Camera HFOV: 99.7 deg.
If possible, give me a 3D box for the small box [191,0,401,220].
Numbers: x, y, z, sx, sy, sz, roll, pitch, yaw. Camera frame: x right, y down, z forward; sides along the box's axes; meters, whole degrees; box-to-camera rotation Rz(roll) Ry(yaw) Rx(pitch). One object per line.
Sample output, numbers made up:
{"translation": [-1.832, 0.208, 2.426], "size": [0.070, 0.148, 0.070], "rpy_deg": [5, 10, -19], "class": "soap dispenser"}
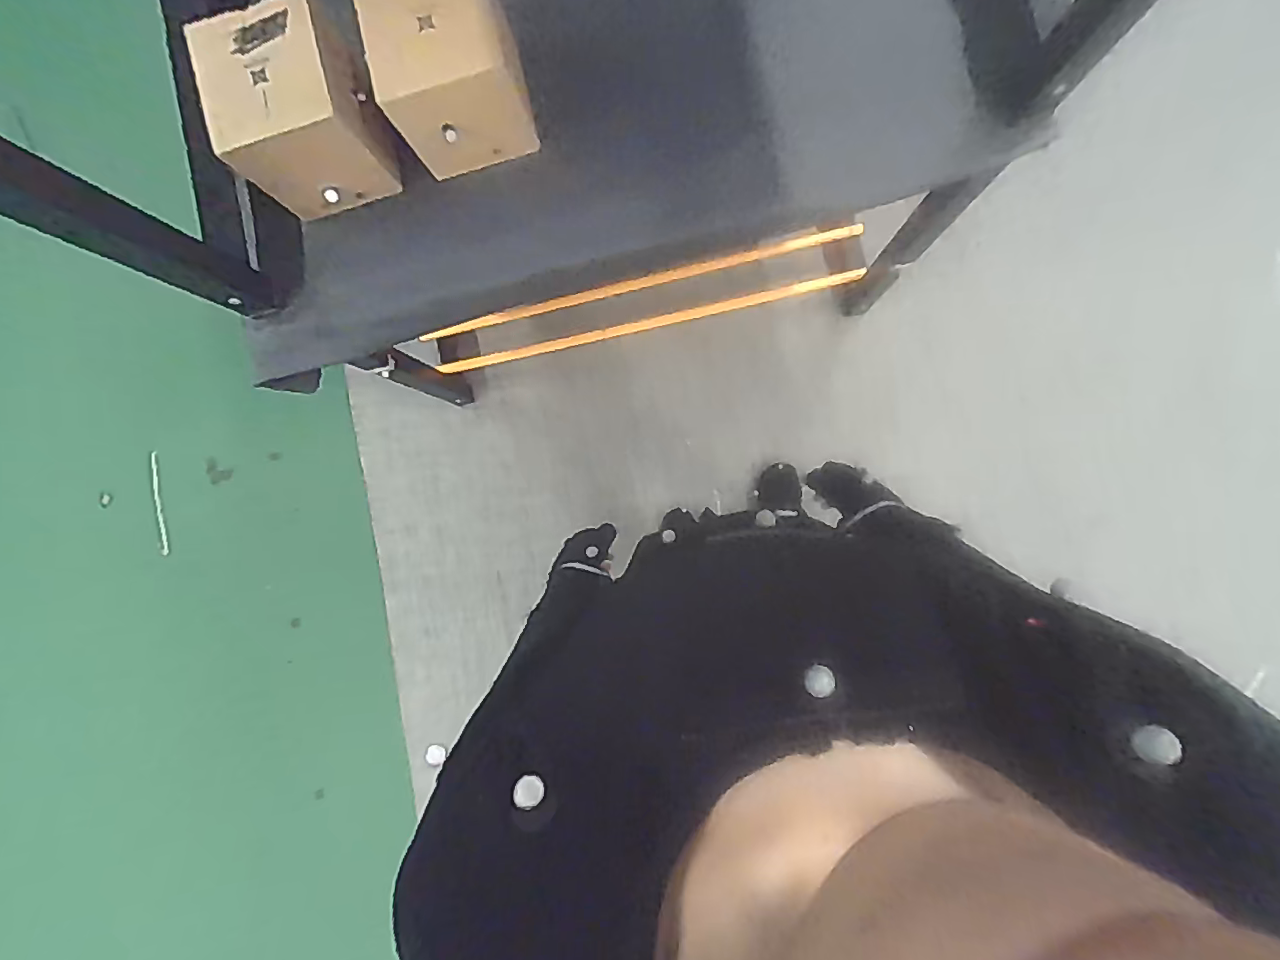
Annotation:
{"translation": [-0.465, -0.503, 0.754], "size": [0.168, 0.176, 0.179], "rpy_deg": [-14, 87, 5], "class": "small box"}
